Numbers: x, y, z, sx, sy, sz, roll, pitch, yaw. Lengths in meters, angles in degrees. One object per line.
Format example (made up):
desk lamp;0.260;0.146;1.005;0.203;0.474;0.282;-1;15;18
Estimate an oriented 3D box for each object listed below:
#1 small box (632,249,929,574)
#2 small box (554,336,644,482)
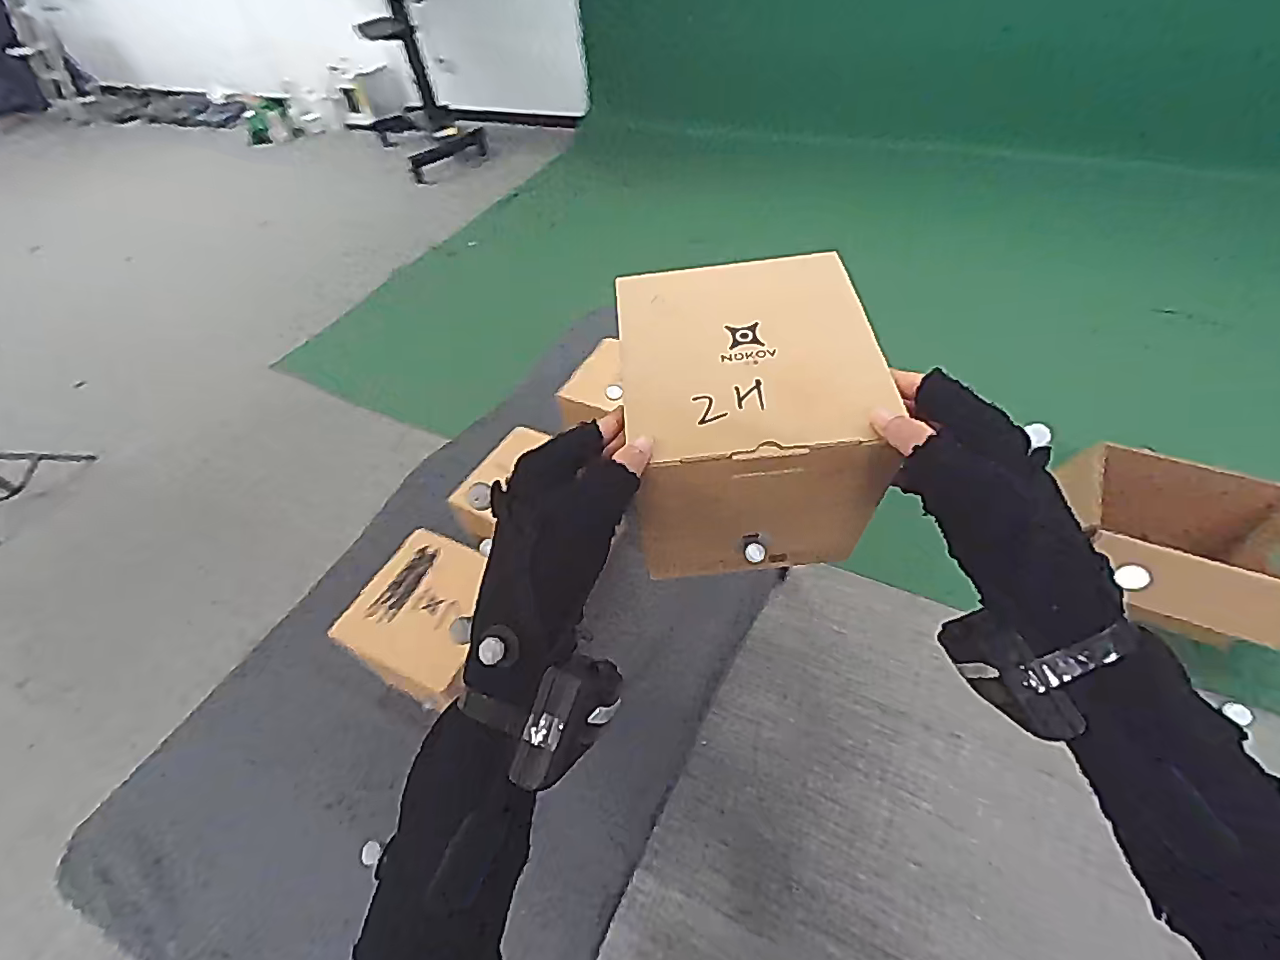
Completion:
small box;0.084;-0.045;0.416;0.168;0.176;0.179;-6;57;4
small box;-0.019;-0.119;0.947;0.179;0.176;0.168;19;56;21
